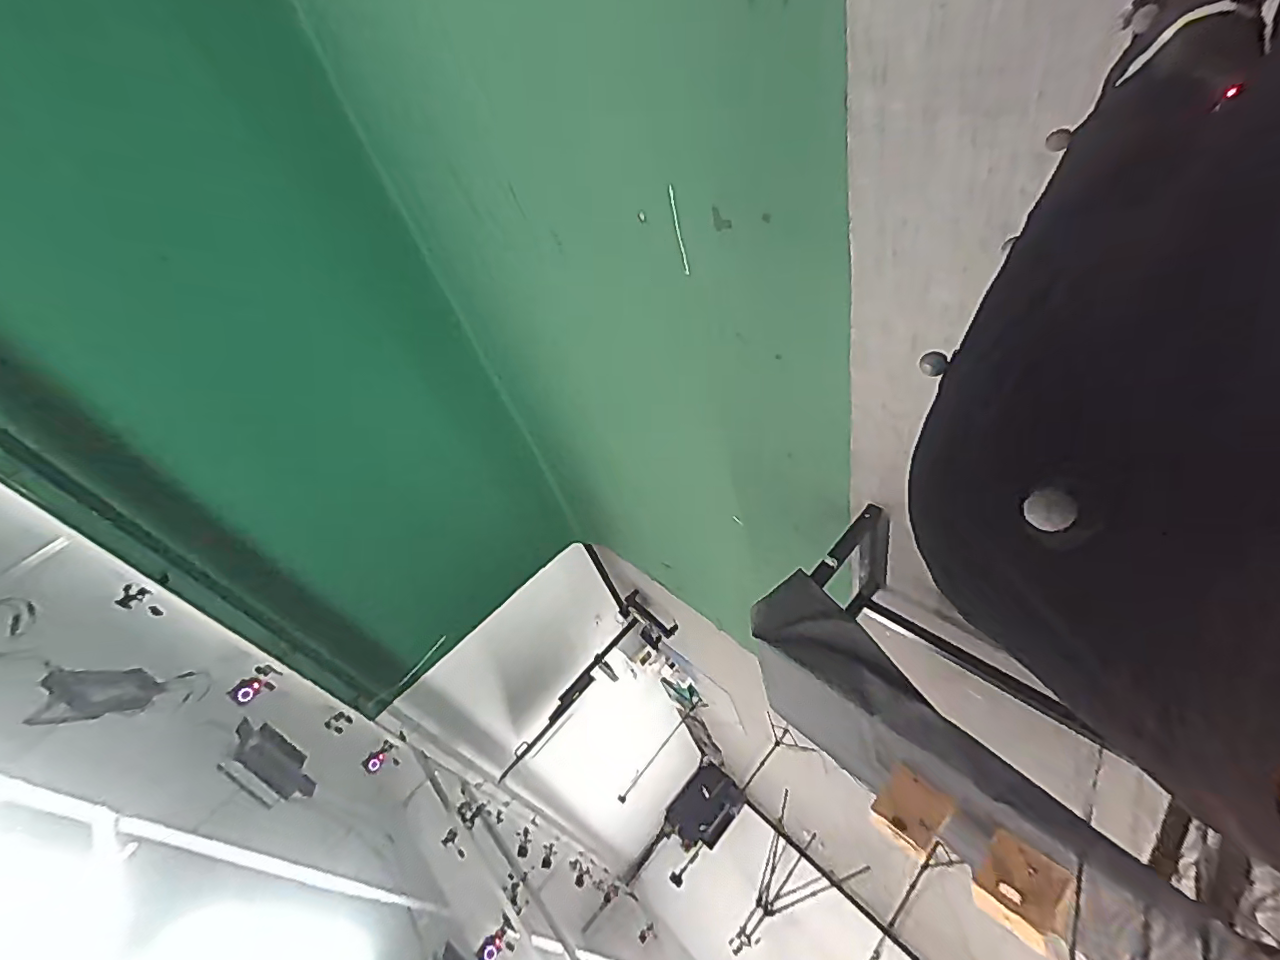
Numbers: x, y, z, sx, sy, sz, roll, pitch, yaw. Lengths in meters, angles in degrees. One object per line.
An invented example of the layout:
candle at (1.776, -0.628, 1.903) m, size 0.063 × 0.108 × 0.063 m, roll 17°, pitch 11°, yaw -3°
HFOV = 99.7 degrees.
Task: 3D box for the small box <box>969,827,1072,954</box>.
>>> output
small box at (0.975, 1.045, 1.386) m, size 0.168 × 0.176 × 0.179 m, roll 21°, pitch 146°, yaw 50°
